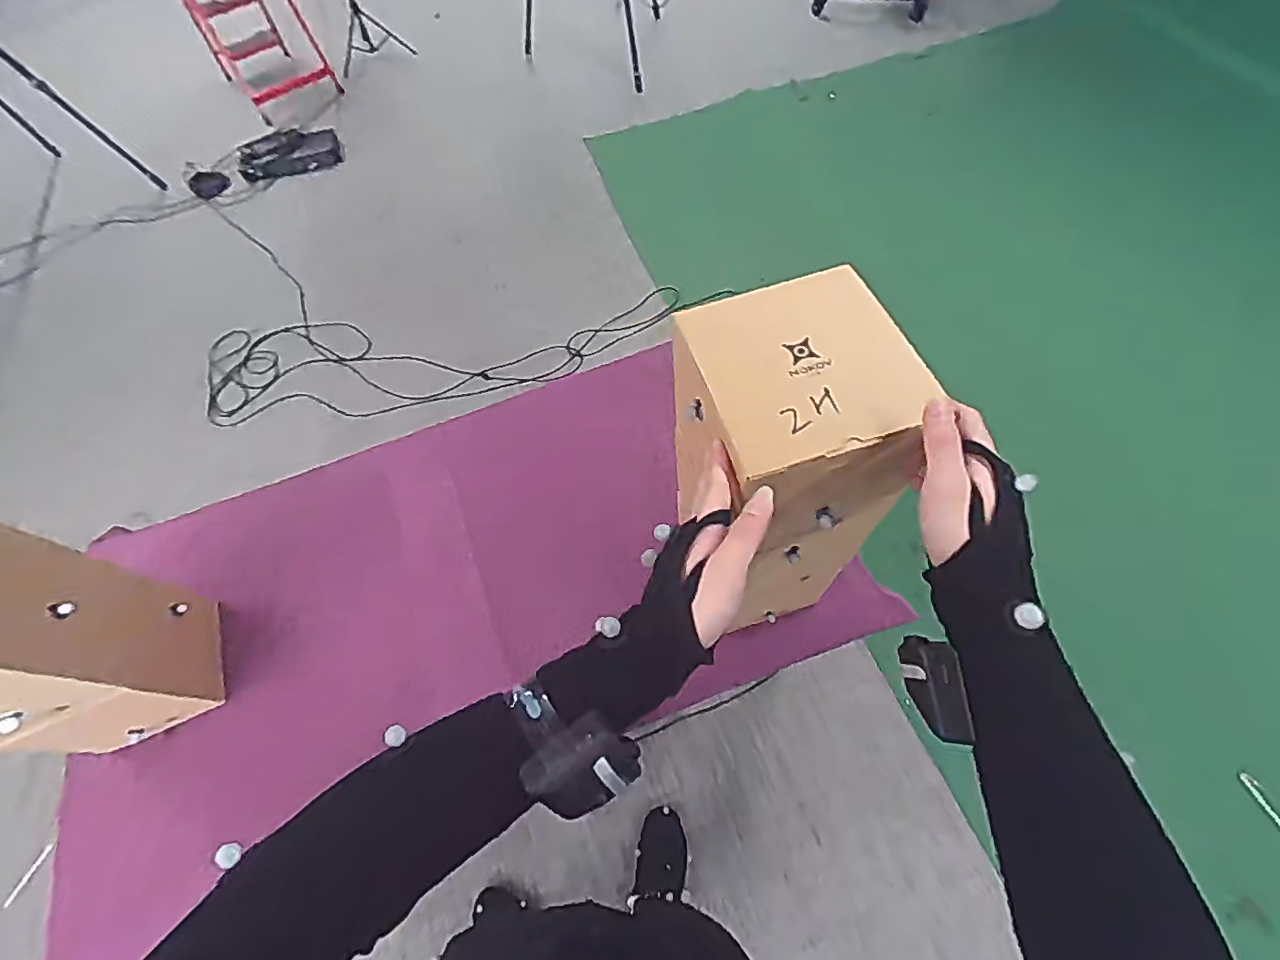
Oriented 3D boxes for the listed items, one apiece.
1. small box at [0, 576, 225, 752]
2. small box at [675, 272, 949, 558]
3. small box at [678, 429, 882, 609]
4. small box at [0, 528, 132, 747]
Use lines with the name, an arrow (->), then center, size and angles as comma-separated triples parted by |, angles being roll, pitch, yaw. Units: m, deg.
small box -> -0.738, 0.268, 0.773 | 0.168, 0.176, 0.179 | -23, 63, -8
small box -> 0.133, -0.053, 0.500 | 0.168, 0.176, 0.179 | -16, 60, -3
small box -> 0.149, 0.030, 0.645 | 0.168, 0.176, 0.179 | -18, 60, -3
small box -> -0.748, 0.189, 0.631 | 0.168, 0.176, 0.179 | -24, 63, -8
